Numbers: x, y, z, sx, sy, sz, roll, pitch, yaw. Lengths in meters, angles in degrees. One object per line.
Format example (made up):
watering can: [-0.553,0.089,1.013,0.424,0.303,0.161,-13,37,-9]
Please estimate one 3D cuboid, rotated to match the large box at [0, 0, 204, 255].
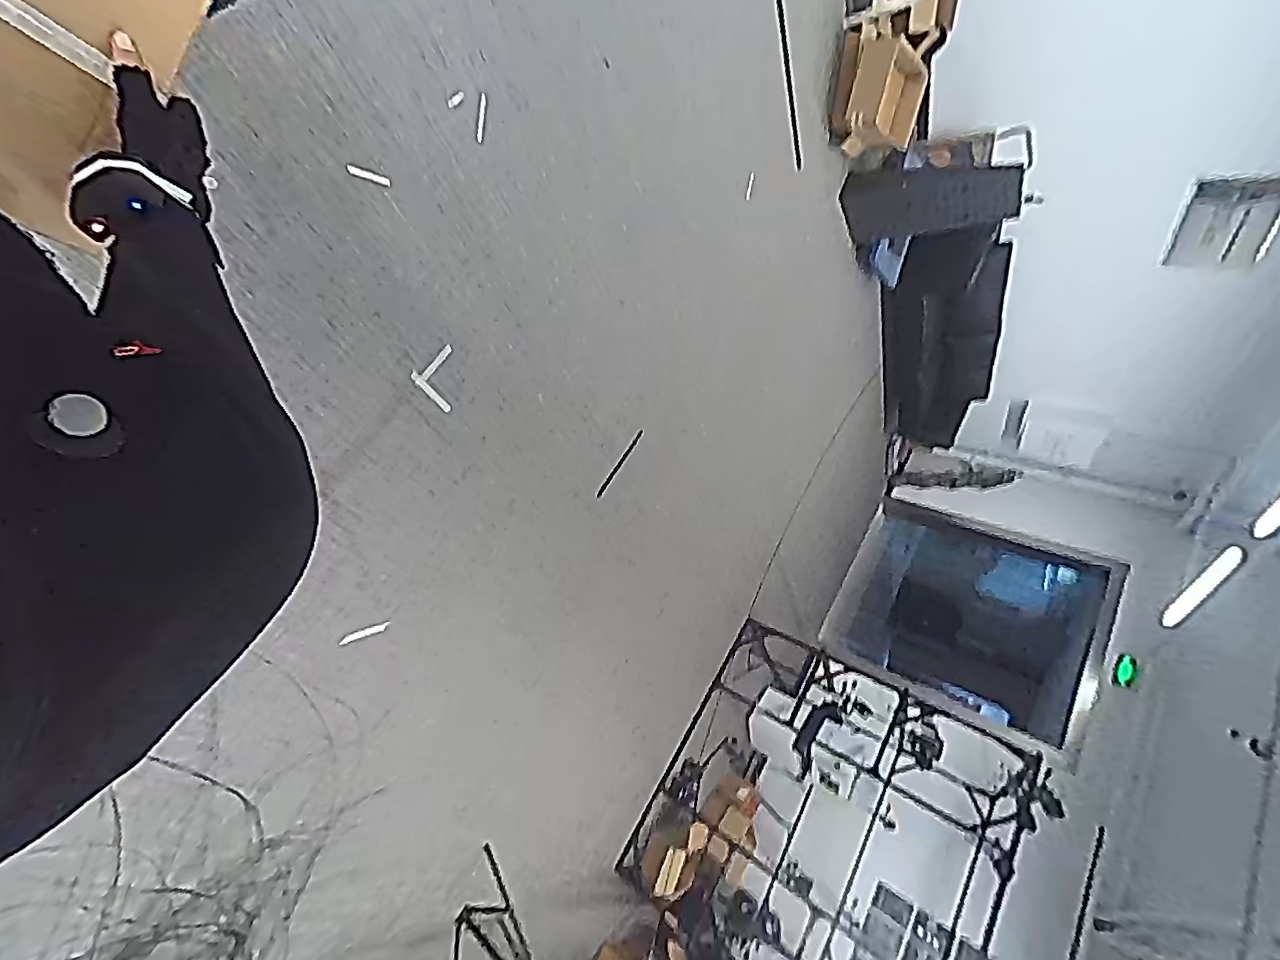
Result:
large box: [-0.673,-0.440,0.414,0.408,0.320,0.320,21,94,-63]
